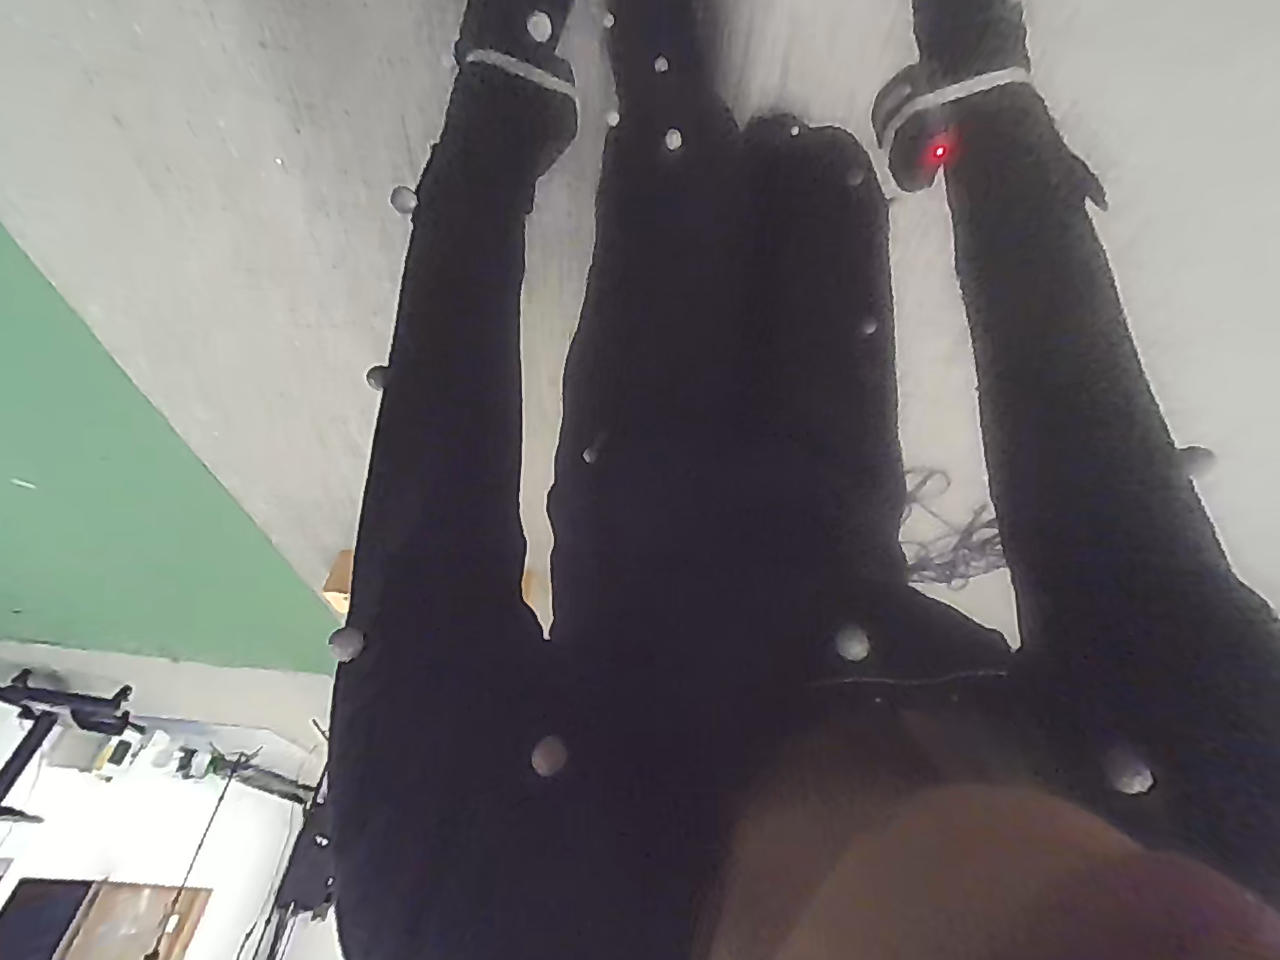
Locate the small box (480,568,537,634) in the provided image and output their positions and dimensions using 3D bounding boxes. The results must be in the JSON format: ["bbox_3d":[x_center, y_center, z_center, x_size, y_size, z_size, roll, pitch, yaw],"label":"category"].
[{"bbox_3d":[-0.475,0.443,1.977,0.168,0.176,0.179,6,141,-2],"label":"small box"}]

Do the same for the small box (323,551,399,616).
[{"bbox_3d":[-1.007,0.375,1.968,0.168,0.176,0.179,6,141,0],"label":"small box"}]
